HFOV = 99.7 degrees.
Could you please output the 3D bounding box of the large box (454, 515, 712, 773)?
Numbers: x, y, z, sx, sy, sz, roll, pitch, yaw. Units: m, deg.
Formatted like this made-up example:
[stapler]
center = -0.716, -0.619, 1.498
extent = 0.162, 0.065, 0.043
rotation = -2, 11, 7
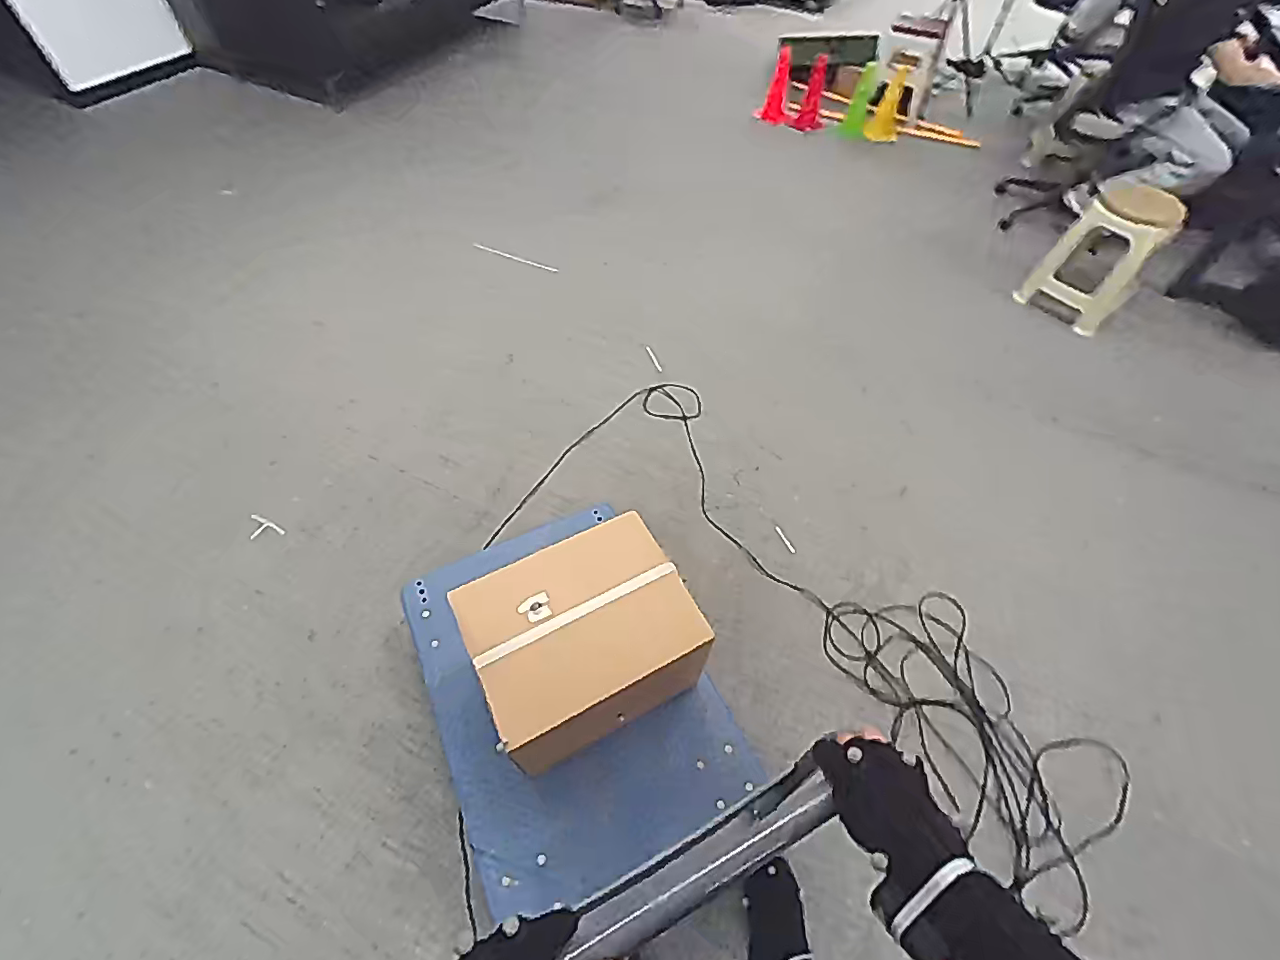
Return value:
[large box]
center = -0.111, 0.343, 1.134
extent = 0.408, 0.320, 0.320
rotation = -24, 58, -17
